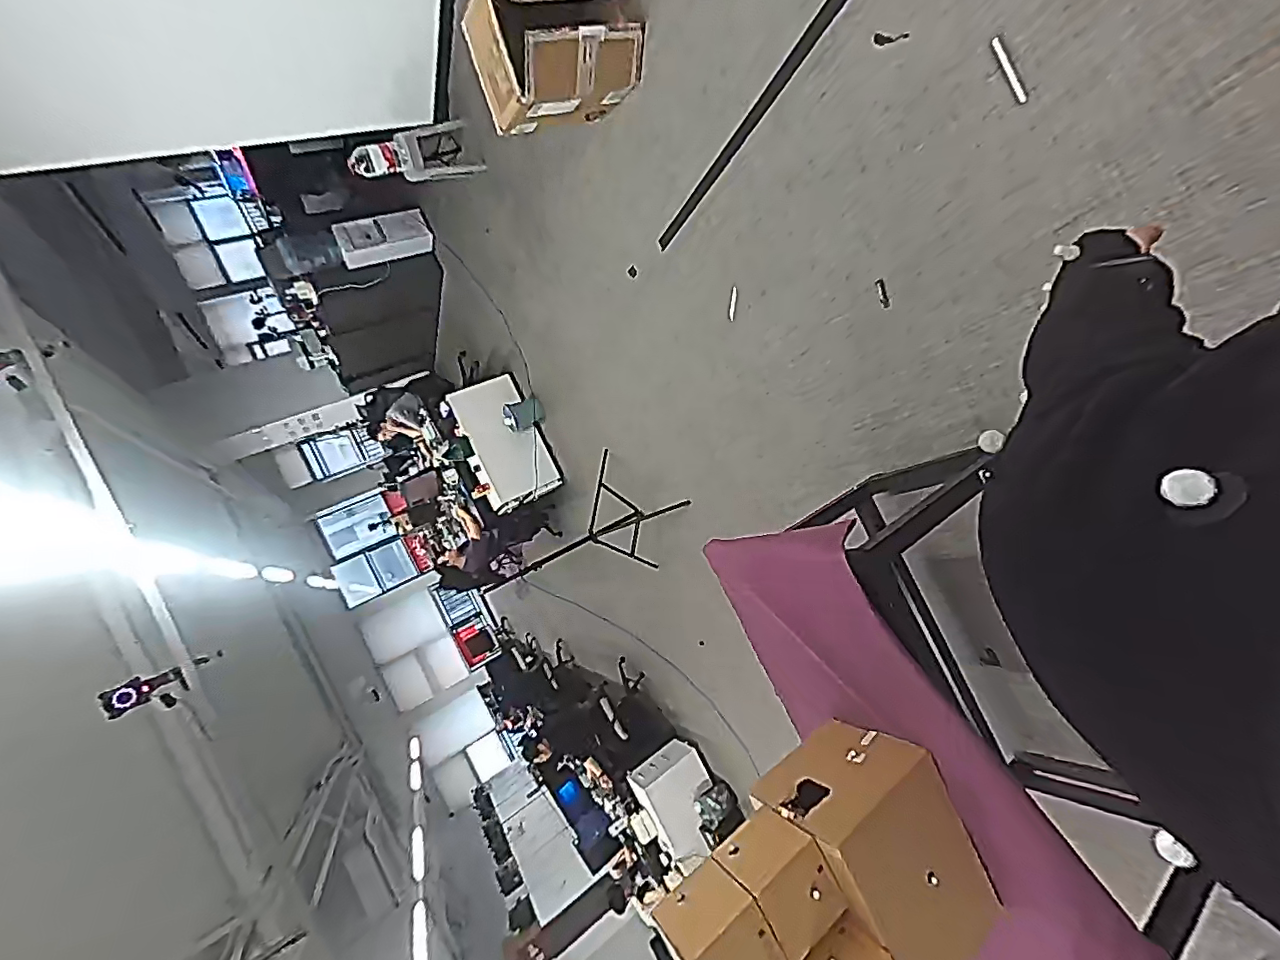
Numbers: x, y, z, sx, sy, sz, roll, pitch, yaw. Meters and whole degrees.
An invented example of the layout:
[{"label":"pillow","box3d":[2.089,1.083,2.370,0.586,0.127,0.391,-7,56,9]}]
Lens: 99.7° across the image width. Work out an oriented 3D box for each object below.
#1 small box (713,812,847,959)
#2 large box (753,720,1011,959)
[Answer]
[{"label":"small box","box3d":[0.290,0.838,1.128,0.168,0.176,0.179,62,156,-2]},{"label":"large box","box3d":[0.539,0.838,1.234,0.408,0.320,0.320,63,157,-1]}]
